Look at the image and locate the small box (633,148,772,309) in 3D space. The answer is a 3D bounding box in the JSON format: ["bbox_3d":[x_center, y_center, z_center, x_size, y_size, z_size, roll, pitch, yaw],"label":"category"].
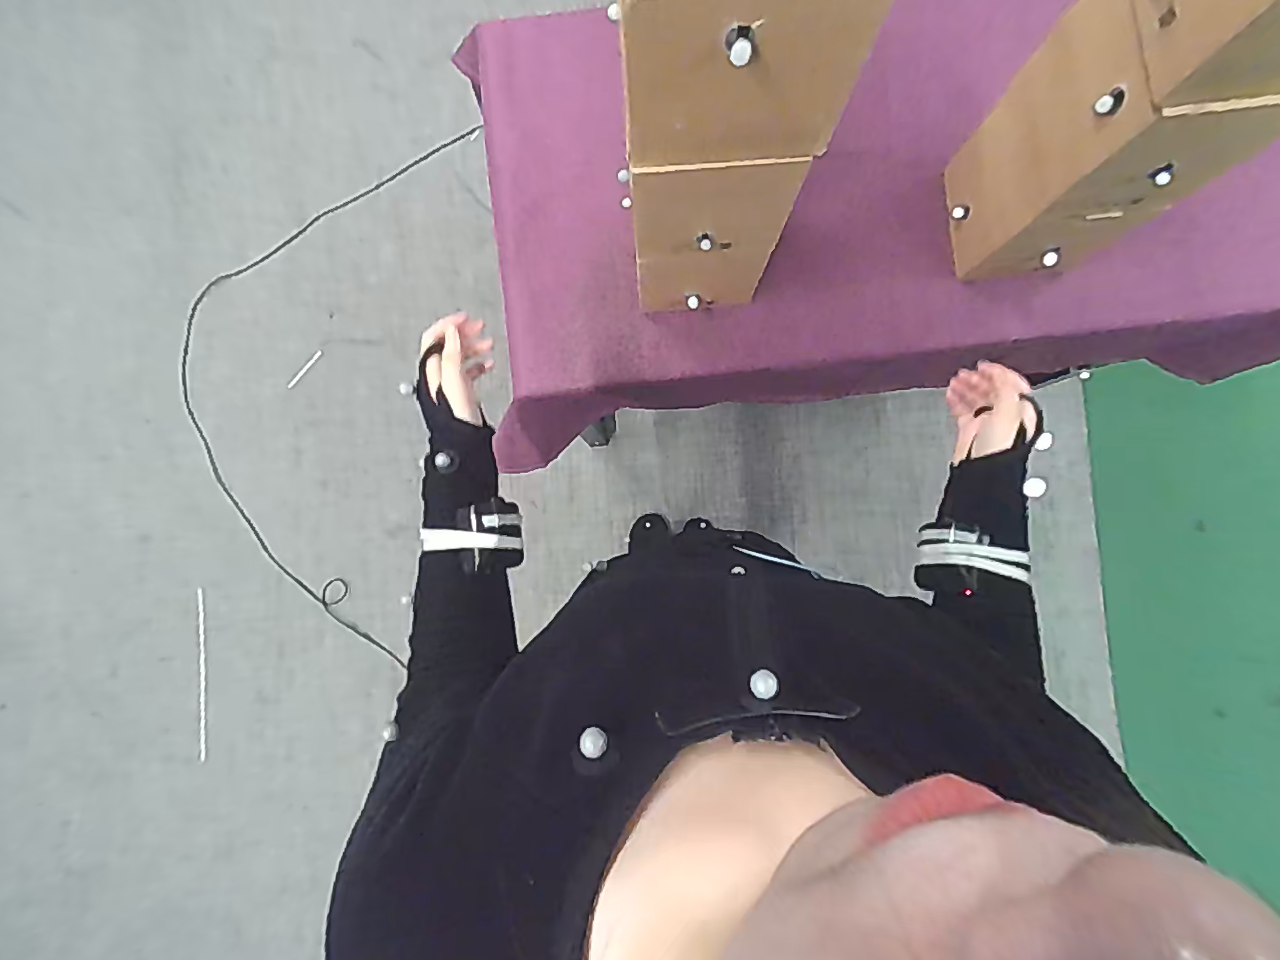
[{"bbox_3d":[0.075,-0.352,0.735,0.168,0.176,0.179,-3,87,2],"label":"small box"}]

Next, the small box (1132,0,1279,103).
[{"bbox_3d":[0.521,-0.419,0.396,0.179,0.176,0.168,-5,85,2],"label":"small box"}]

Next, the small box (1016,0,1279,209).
[{"bbox_3d":[0.531,-0.404,0.559,0.168,0.176,0.179,-5,86,1],"label":"small box"}]

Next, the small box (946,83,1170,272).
[{"bbox_3d":[0.540,-0.394,0.723,0.168,0.176,0.179,-5,87,1],"label":"small box"}]

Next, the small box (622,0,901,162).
[{"bbox_3d":[0.076,-0.371,0.408,0.179,0.176,0.168,-2,87,2],"label":"small box"}]
